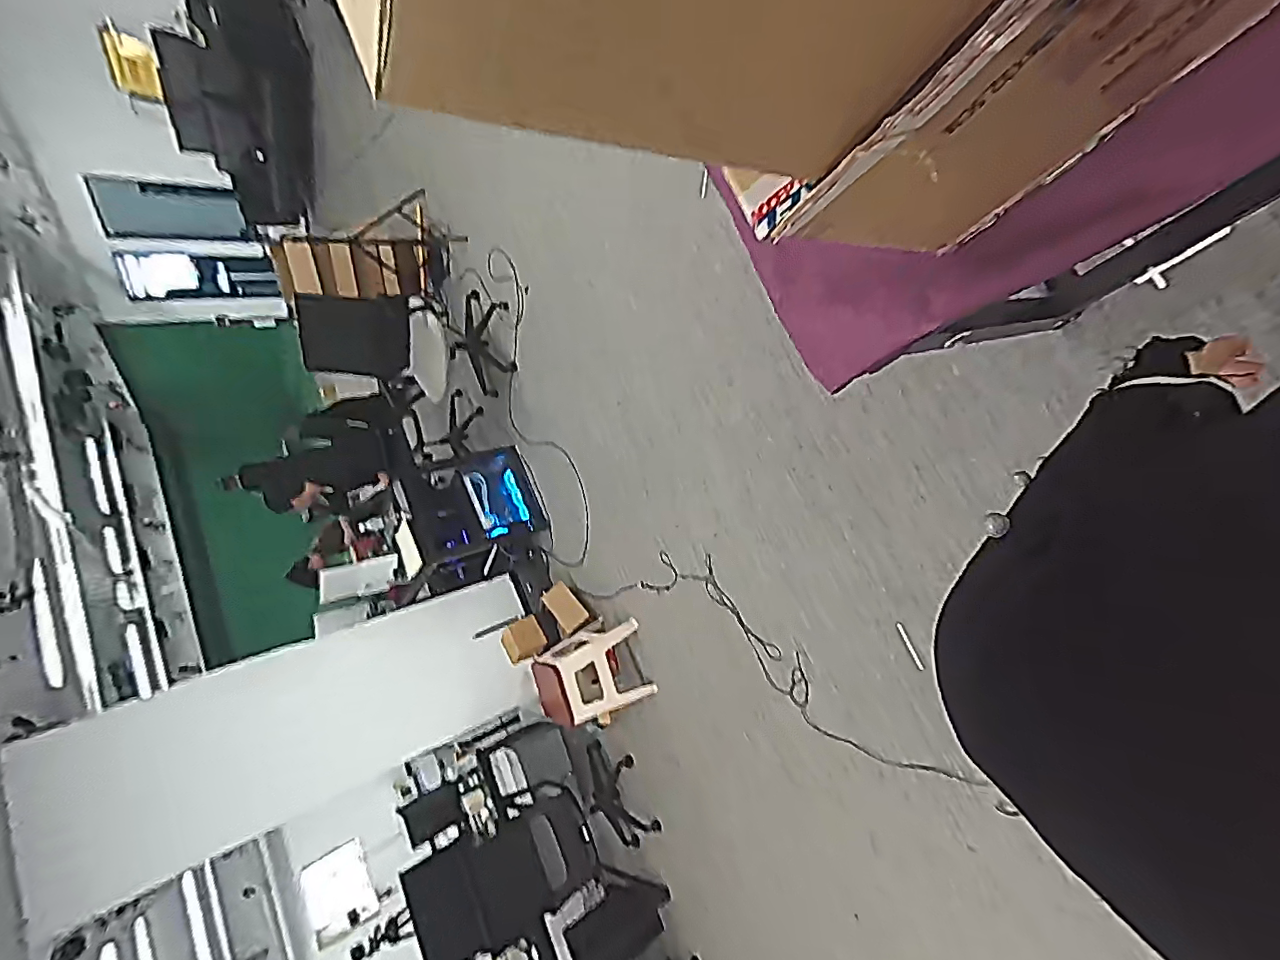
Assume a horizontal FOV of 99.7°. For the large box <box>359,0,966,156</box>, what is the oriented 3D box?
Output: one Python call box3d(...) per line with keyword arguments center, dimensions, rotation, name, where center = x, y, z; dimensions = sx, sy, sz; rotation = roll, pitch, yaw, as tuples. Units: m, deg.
box3d(center=(0.007, -0.430, 0.227), dimensions=(0.320, 0.320, 0.408), rotation=(-41, 70, 53), name="large box")
